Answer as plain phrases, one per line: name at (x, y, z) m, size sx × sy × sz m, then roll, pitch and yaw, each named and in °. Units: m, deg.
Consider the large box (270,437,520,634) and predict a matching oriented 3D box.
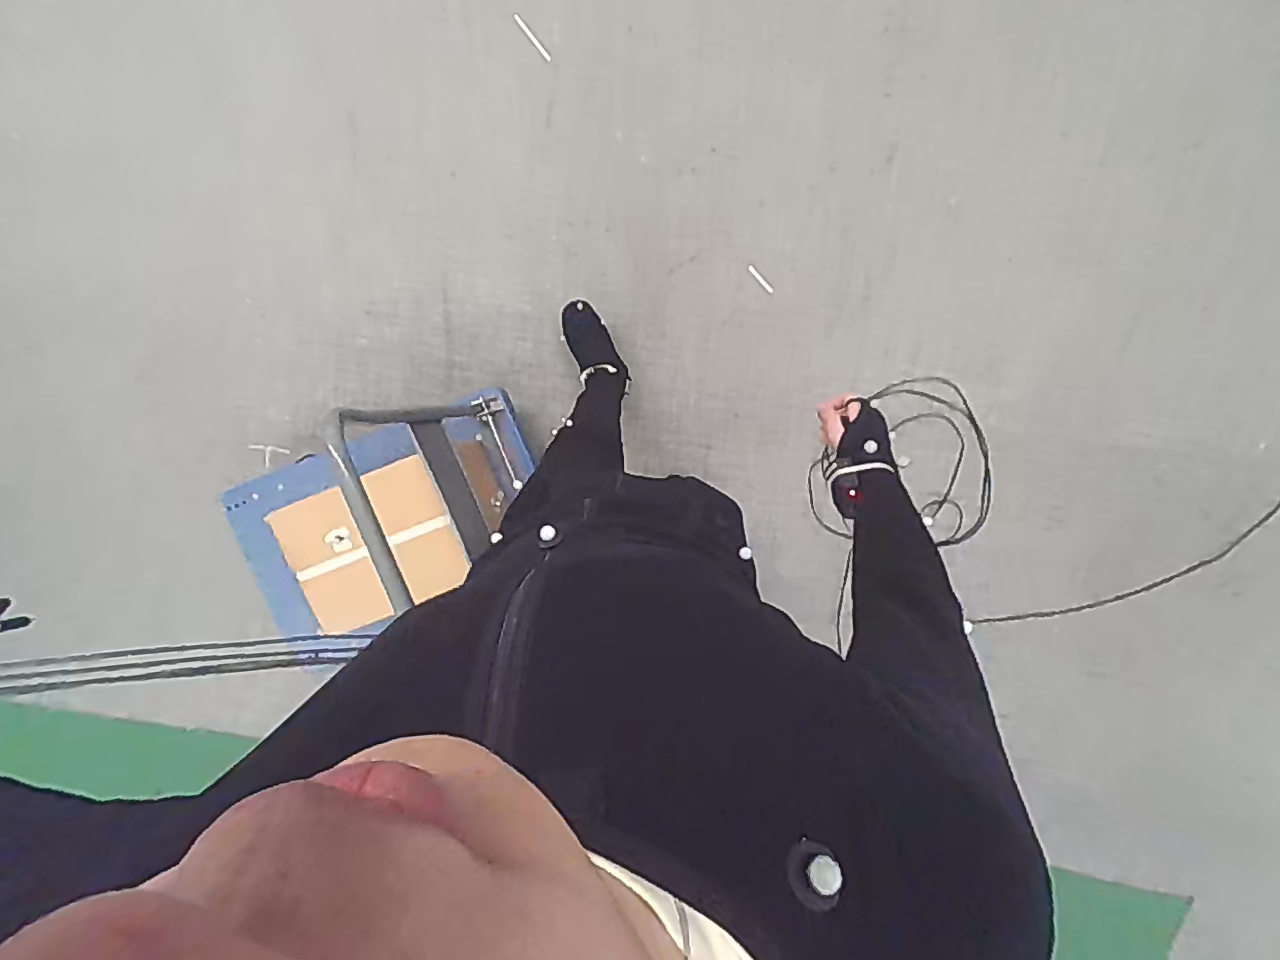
large box at (-0.569, 0.116, 1.330) m, size 0.408 × 0.320 × 0.320 m, roll -20°, pitch 97°, yaw 7°
